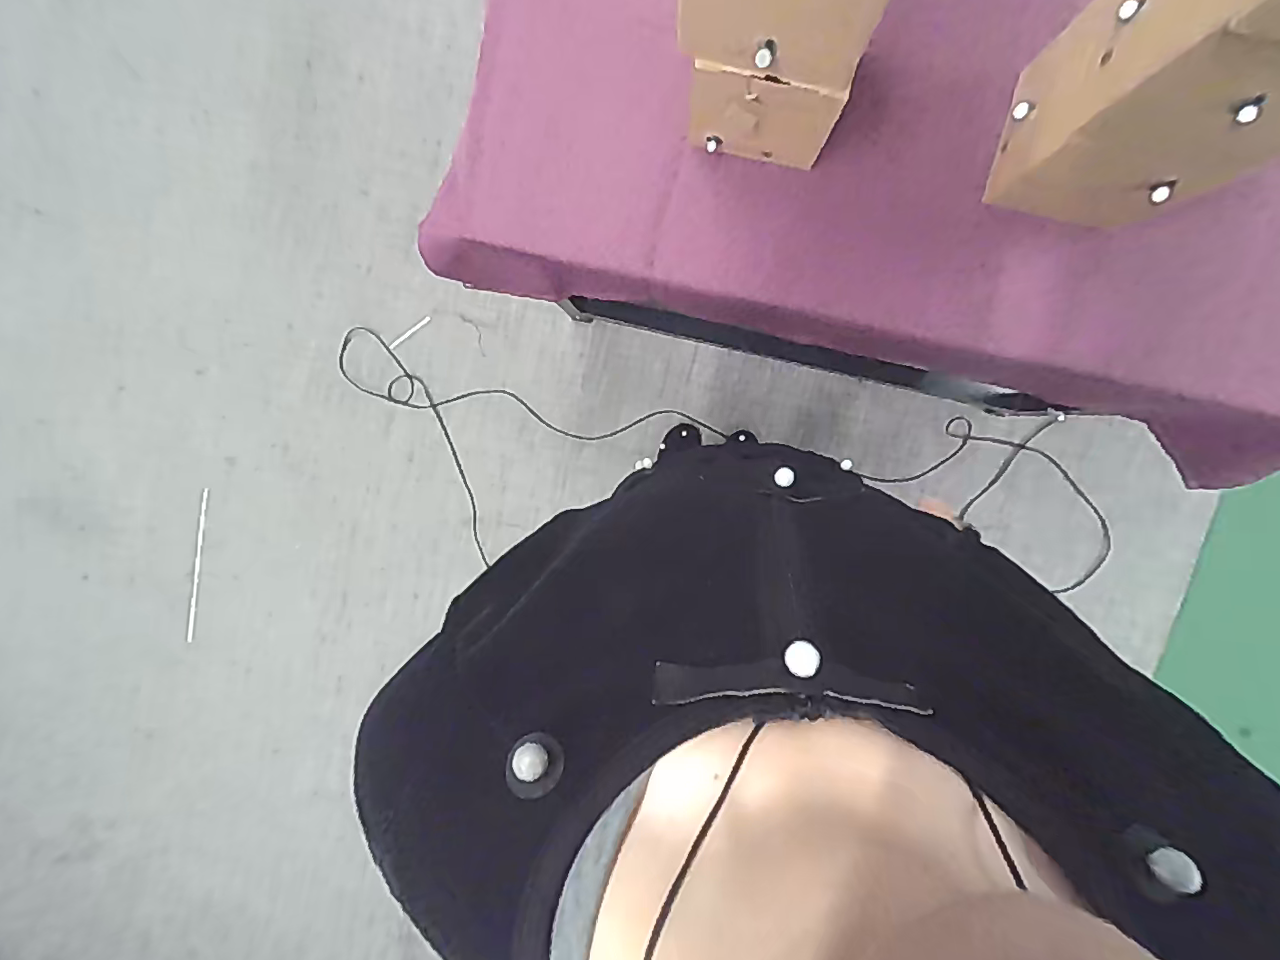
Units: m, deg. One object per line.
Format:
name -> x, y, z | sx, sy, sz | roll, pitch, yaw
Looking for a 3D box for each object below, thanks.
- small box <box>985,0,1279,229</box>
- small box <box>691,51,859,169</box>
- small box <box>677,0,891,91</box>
small box -> 0.541, -0.404, 0.608 | 0.179, 0.176, 0.168 | 14, 97, 2
small box -> 0.158, -0.496, 0.627 | 0.168, 0.176, 0.179 | 13, 96, 2
small box -> 0.136, -0.479, 0.465 | 0.179, 0.176, 0.168 | 14, 97, 2
